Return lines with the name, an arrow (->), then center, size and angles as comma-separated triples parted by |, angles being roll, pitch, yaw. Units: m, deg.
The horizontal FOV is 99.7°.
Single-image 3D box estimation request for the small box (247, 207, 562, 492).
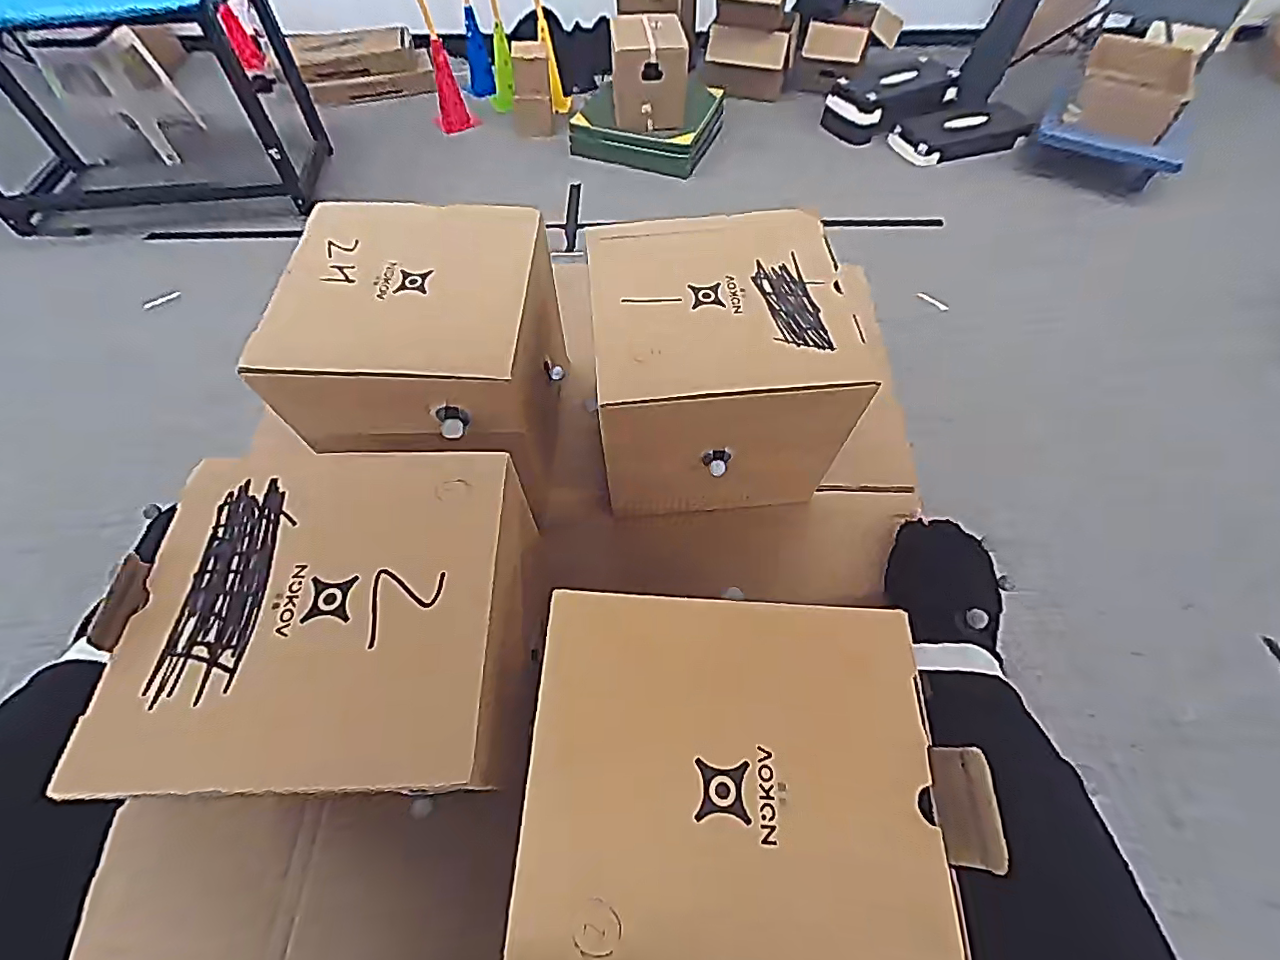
small box -> -0.166, -0.099, 0.456 | 0.179, 0.176, 0.168 | 2, 61, 2
